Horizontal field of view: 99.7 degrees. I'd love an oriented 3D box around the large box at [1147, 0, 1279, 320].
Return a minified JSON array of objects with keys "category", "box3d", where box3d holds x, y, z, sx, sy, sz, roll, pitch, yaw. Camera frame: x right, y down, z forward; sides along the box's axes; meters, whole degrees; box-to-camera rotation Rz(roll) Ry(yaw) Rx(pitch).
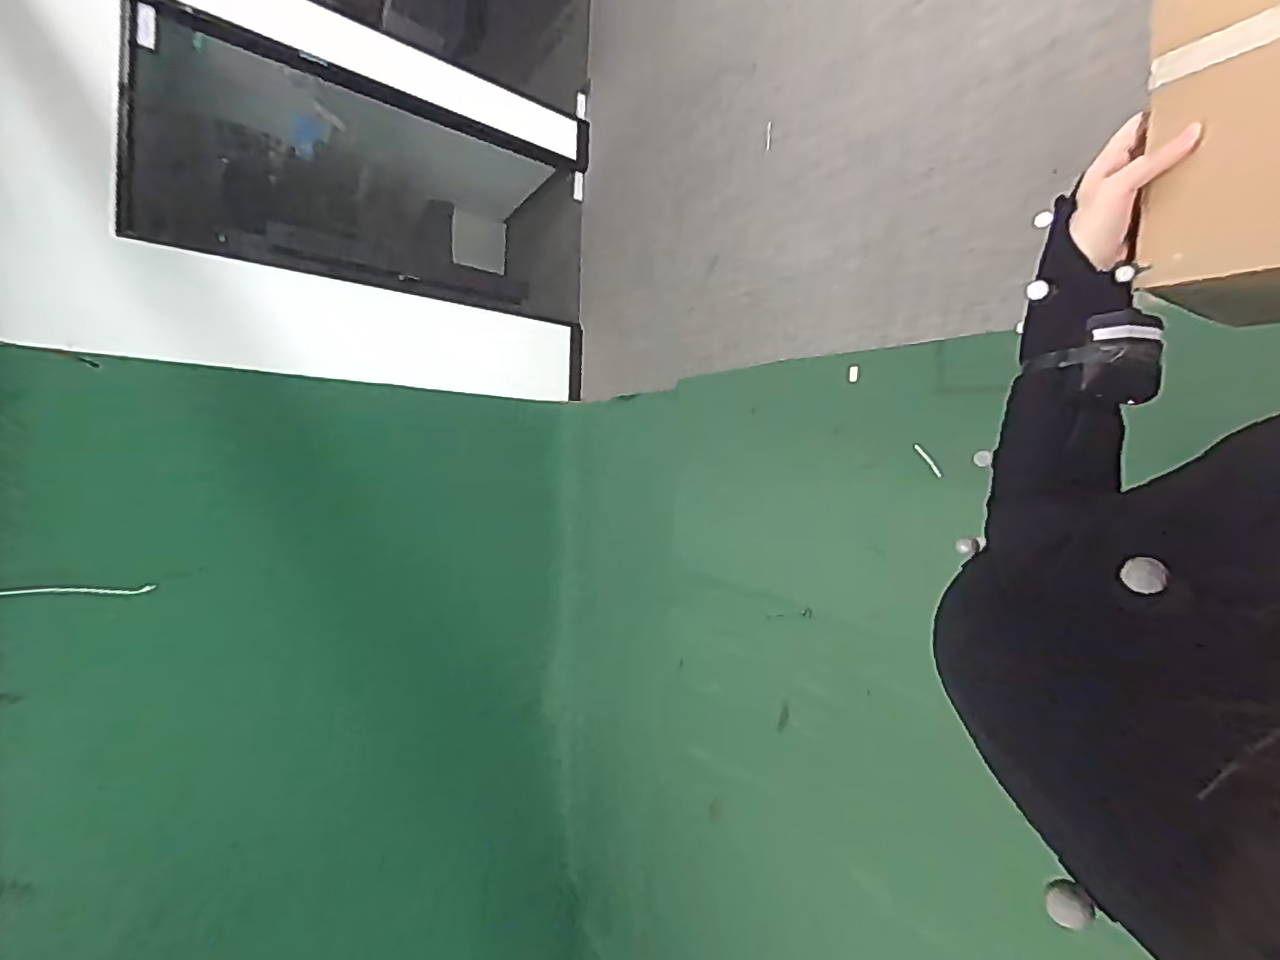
[{"category":"large box","box3d":[0.639,-0.297,0.331,0.408,0.320,0.320,9,100,58]}]
